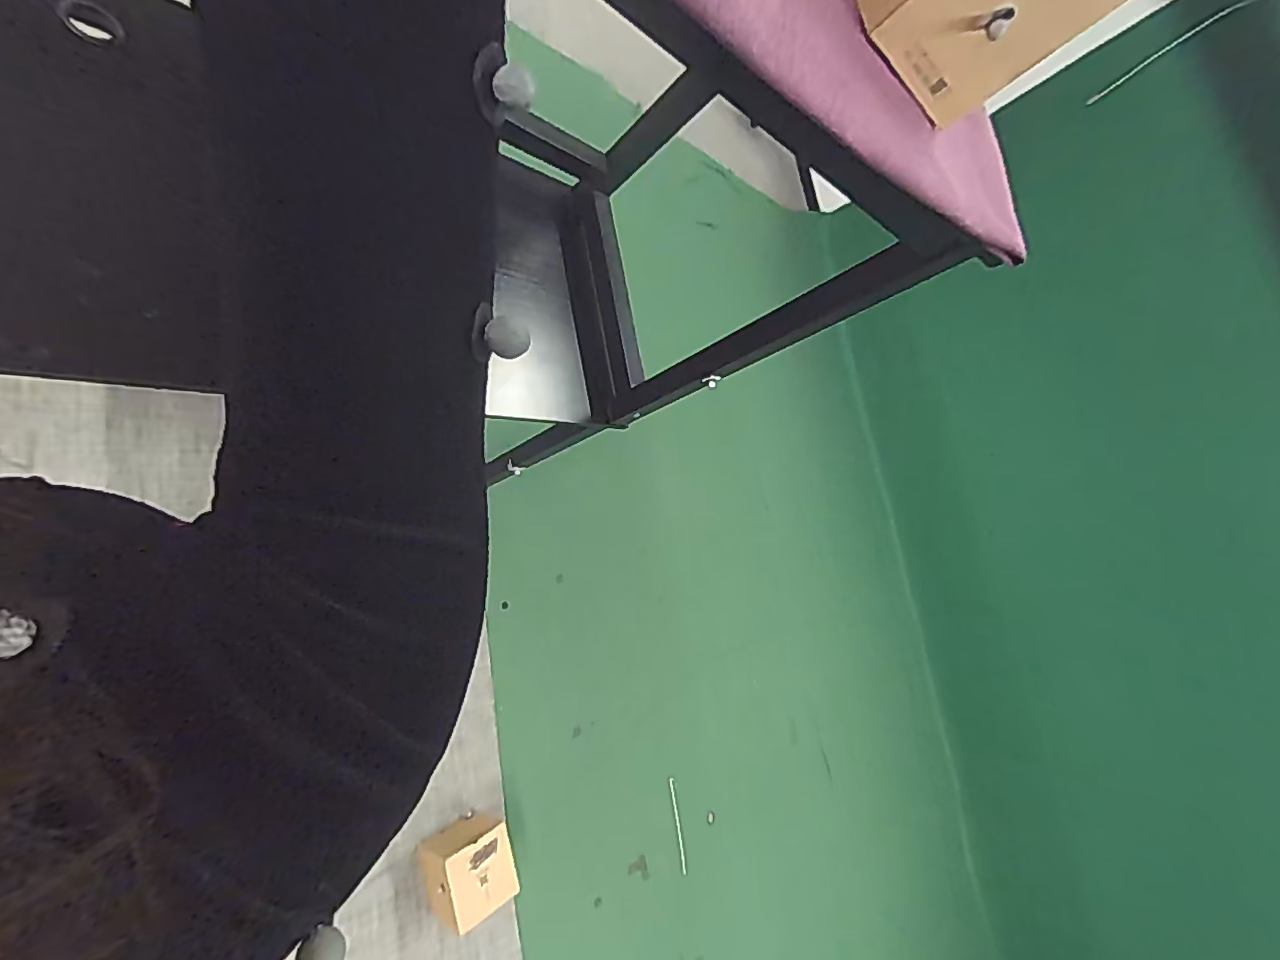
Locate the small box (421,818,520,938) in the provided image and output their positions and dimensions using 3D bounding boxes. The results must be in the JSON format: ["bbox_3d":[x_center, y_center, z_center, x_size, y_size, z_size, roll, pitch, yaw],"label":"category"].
[{"bbox_3d":[-0.433,0.985,1.365,0.168,0.176,0.179,-9,83,-44],"label":"small box"}]

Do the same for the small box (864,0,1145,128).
[{"bbox_3d":[0.309,-0.474,0.487,0.168,0.176,0.179,8,69,-41],"label":"small box"}]
